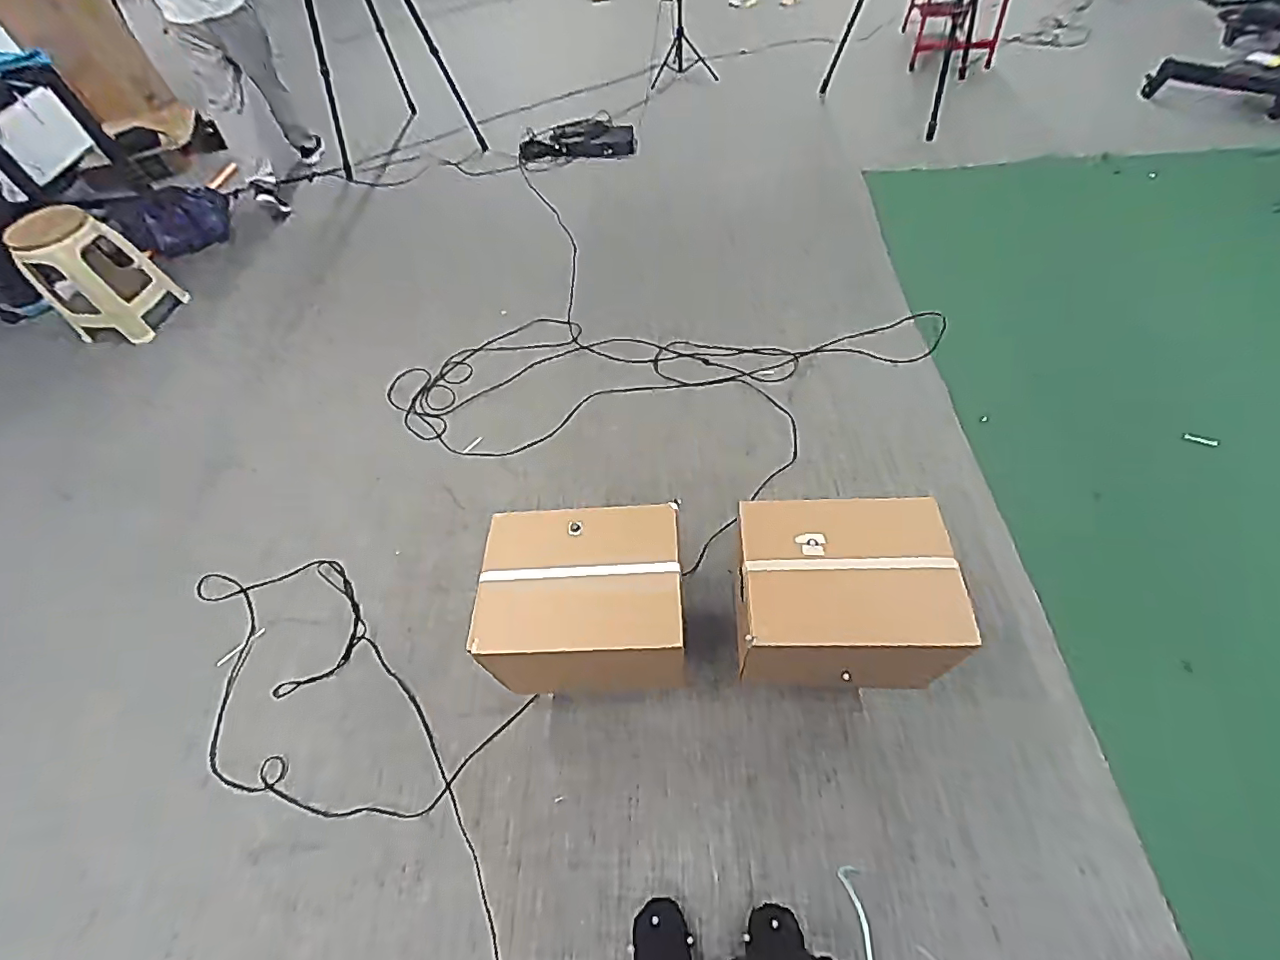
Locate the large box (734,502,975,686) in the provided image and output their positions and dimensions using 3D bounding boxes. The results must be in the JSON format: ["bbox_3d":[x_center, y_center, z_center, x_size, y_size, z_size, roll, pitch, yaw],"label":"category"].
[{"bbox_3d":[0.426,0.263,1.192,0.408,0.320,0.320,-2,55,6],"label":"large box"}]
